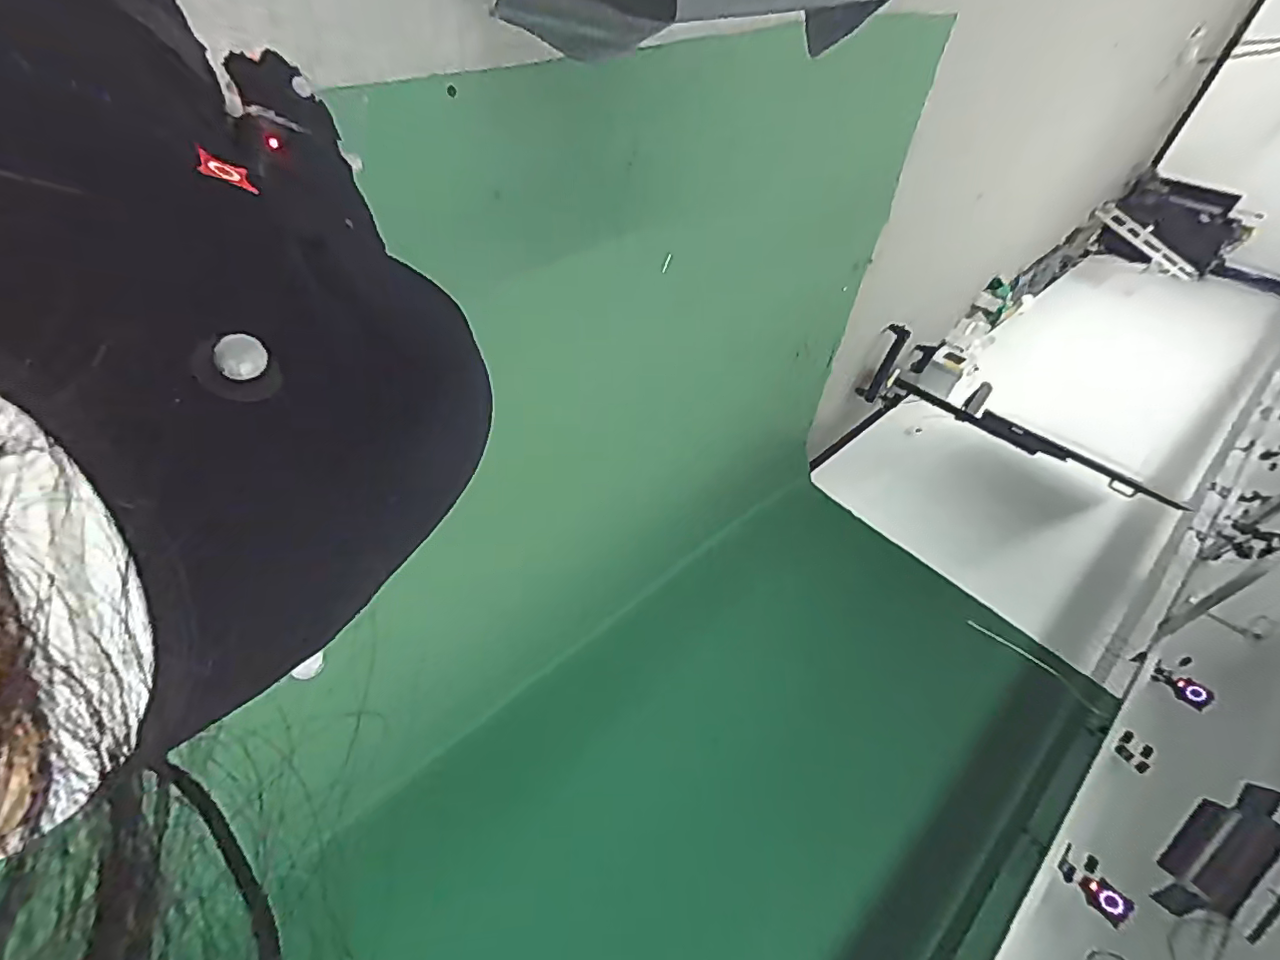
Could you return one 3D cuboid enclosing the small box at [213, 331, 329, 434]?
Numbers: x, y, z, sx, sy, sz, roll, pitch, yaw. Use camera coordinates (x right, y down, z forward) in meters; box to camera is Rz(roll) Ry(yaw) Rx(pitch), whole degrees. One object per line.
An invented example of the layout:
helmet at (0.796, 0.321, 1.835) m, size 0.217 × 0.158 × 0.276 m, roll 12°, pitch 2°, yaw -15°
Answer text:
small box at (-0.907, -0.249, 1.330) m, size 0.168 × 0.176 × 0.179 m, roll -29°, pitch 145°, yaw -31°
